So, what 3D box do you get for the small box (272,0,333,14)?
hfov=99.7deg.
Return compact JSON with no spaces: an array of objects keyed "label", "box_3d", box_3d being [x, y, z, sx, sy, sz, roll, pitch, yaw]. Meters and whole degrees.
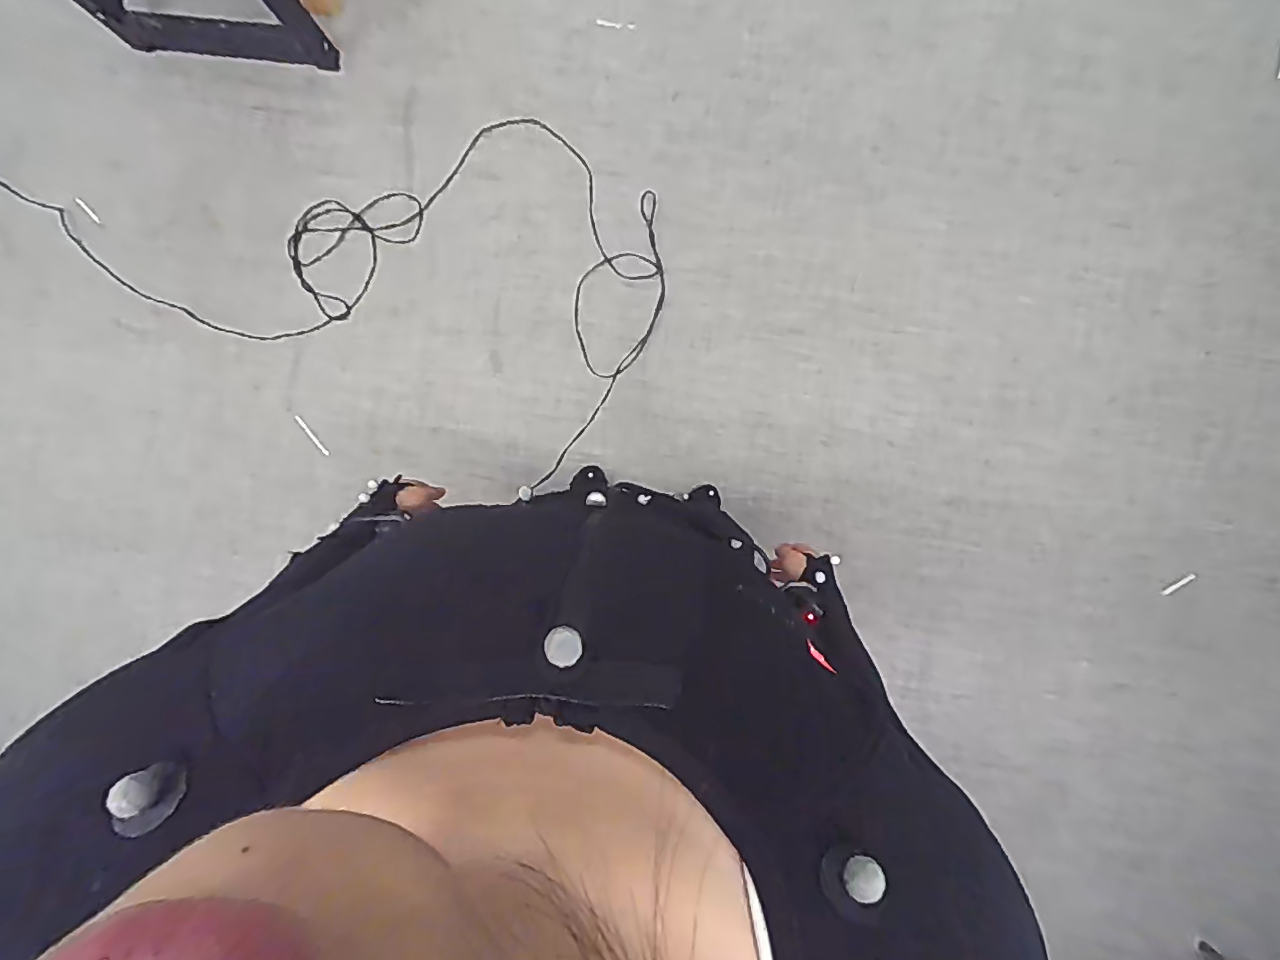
[{"label":"small box","box_3d":[-0.899,-1.349,1.382,0.179,0.176,0.168,11,92,1]}]
